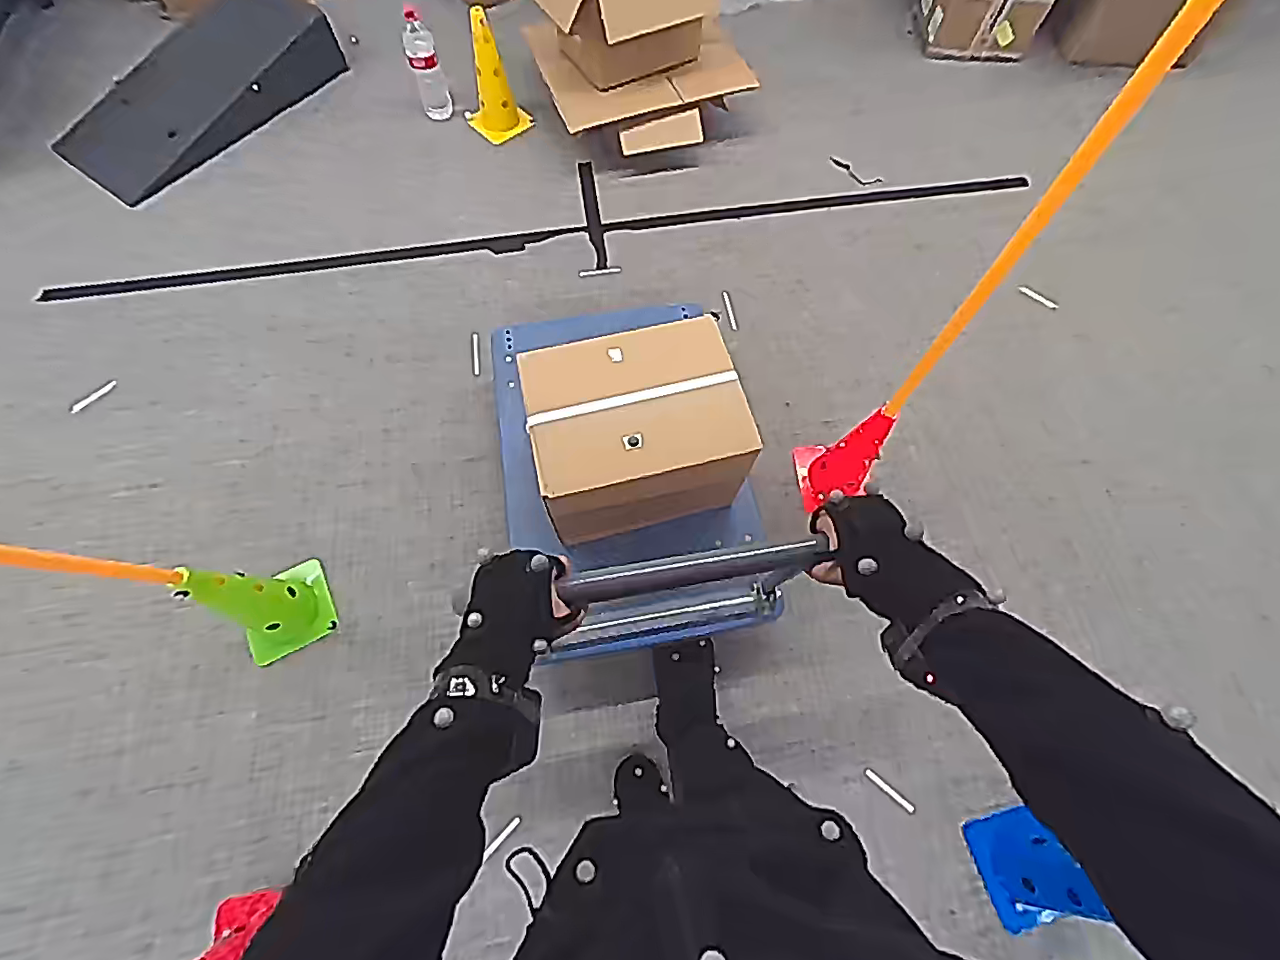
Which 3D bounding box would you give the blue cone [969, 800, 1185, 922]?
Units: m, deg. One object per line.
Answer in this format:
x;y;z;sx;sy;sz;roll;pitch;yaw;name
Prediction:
0.813;0.731;0.986;0.193;0.380;0.192;-12;66;-6;blue cone

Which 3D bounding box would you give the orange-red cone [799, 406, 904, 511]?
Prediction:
0.544;-0.075;1.315;0.199;0.360;0.198;-2;67;-3;orange-red cone
